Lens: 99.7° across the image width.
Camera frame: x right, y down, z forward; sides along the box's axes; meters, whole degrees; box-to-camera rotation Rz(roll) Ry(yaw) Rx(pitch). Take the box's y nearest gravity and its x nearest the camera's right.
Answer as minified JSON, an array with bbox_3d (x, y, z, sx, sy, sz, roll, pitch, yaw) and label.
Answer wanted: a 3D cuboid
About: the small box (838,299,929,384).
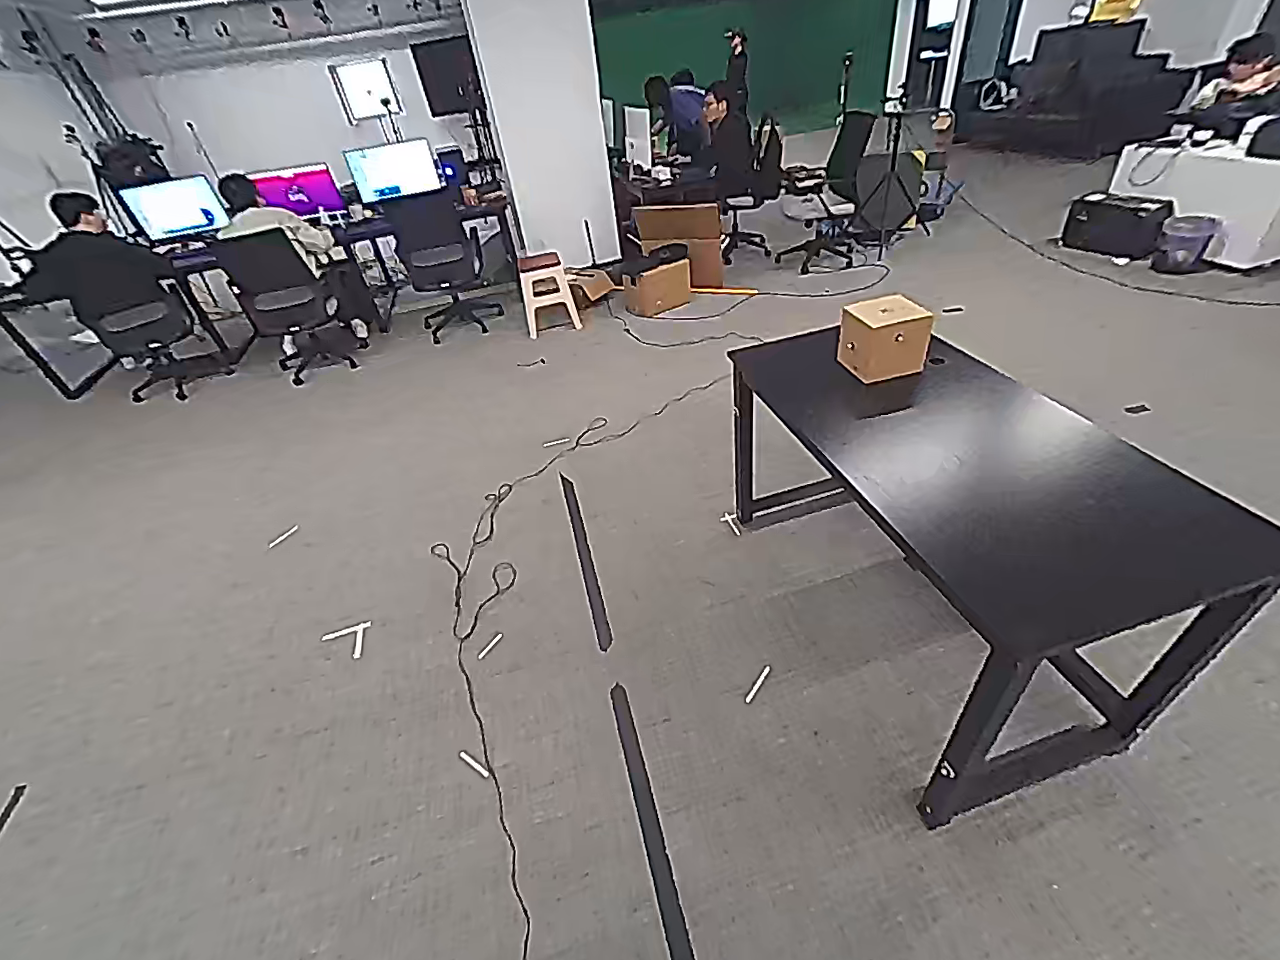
[{"bbox_3d":[0.677,-0.389,1.529,0.179,0.176,0.168,-13,38,-5],"label":"small box"}]
